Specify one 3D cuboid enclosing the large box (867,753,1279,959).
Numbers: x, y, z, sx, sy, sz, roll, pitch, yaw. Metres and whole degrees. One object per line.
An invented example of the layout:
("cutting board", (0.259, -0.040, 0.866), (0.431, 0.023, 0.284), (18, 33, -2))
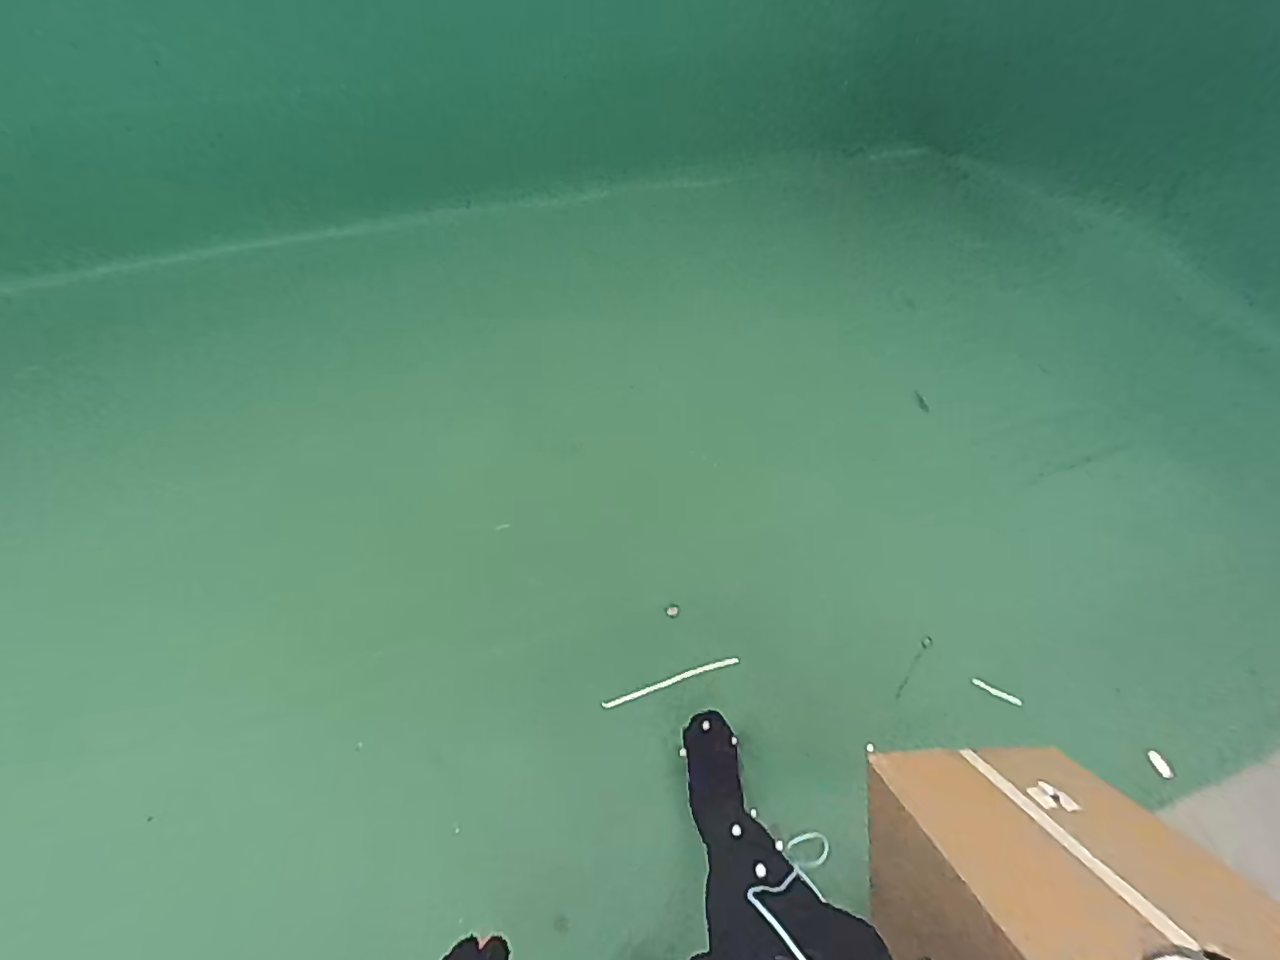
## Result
("large box", (0.535, 0.610, 0.695), (0.320, 0.408, 0.320), (-1, 90, 0))
